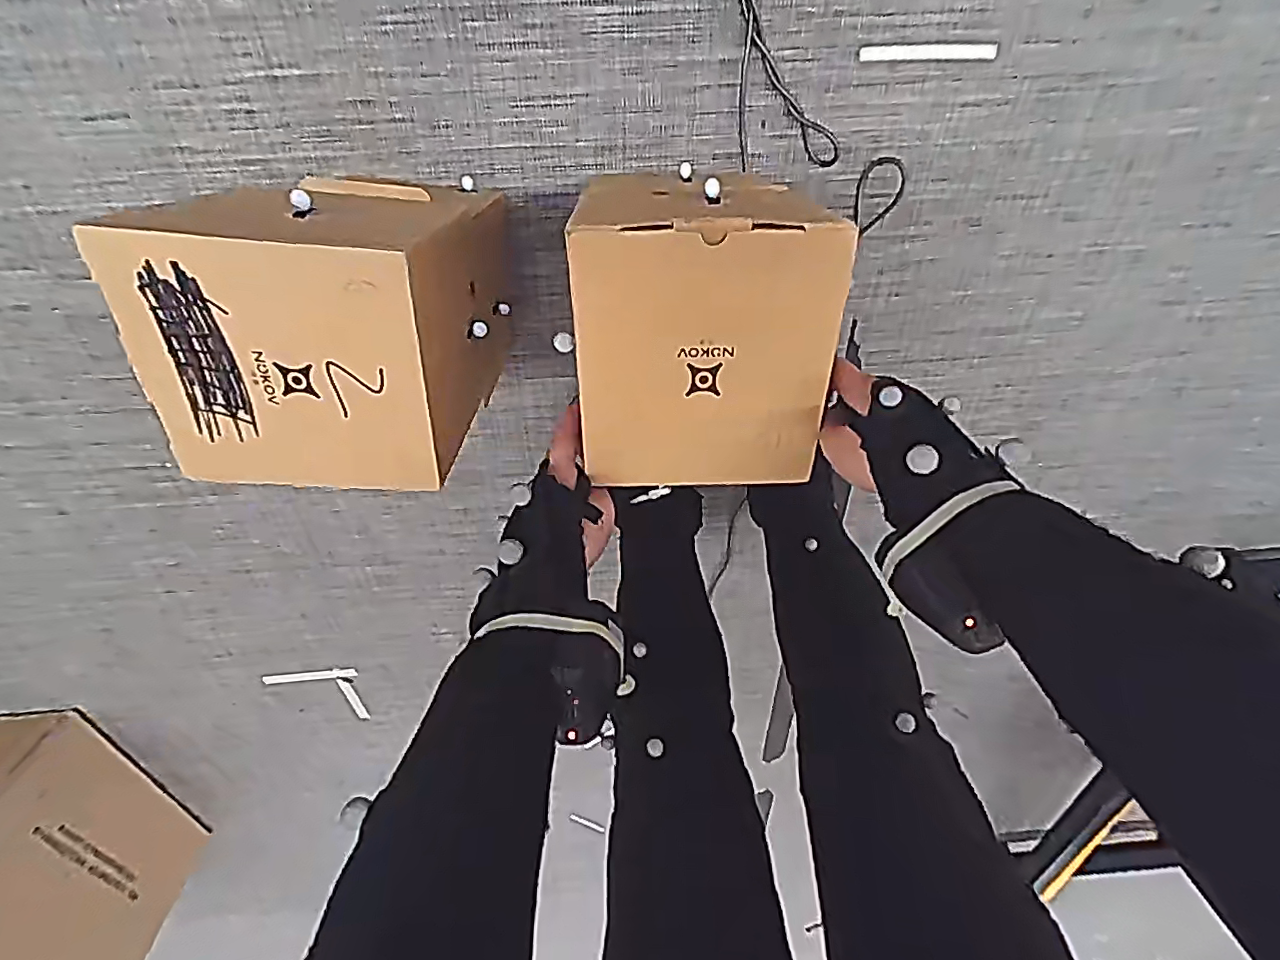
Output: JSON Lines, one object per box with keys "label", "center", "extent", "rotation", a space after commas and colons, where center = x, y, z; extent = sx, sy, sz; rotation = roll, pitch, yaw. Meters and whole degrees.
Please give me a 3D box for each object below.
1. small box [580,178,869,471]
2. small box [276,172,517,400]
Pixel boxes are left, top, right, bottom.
{"label": "small box", "center": [0.047, -0.124, 0.413], "extent": [0.168, 0.176, 0.179], "rotation": [-1, 123, -1]}
{"label": "small box", "center": [-0.220, -0.200, 0.546], "extent": [0.168, 0.176, 0.179], "rotation": [3, 125, -5]}
